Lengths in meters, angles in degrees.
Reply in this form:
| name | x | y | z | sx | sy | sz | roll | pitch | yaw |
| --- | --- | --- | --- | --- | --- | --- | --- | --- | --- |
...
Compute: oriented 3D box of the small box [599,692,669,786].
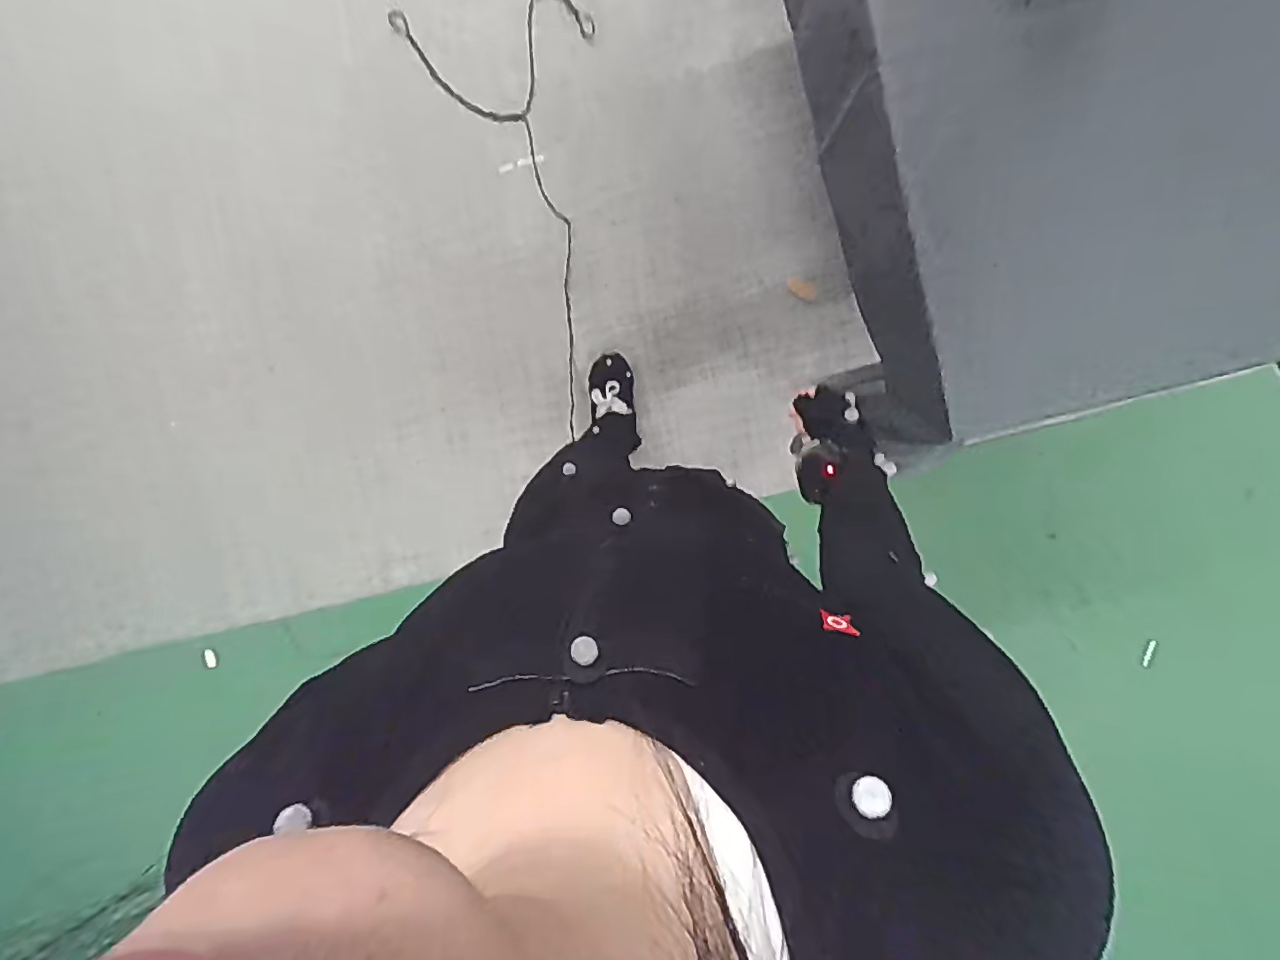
| name | x | y | z | sx | sy | sz | roll | pitch | yaw |
| --- | --- | --- | --- | --- | --- | --- | --- | --- | --- |
| small box | -0.013 | 0.714 | 1.510 | 0.168 | 0.176 | 0.179 | -10 | 97 | 5 |
